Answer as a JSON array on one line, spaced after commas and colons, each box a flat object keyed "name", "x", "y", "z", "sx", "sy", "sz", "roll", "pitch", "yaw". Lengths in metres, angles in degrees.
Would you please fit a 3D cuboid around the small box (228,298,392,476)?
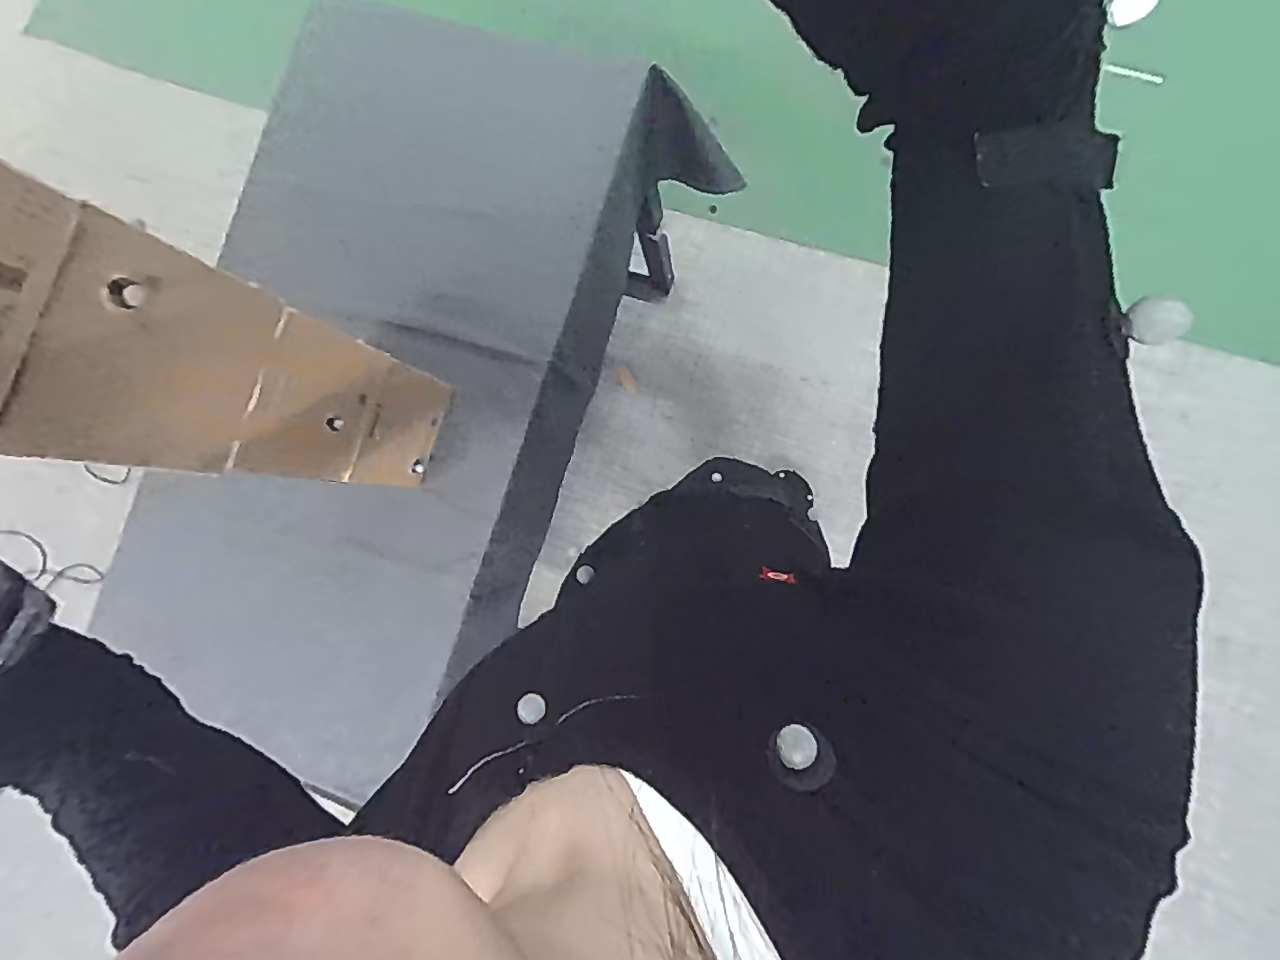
[{"name": "small box", "x": -0.422, "y": -0.108, "z": 0.606, "sx": 0.179, "sy": 0.176, "sz": 0.168, "roll": 18, "pitch": 89, "yaw": 9}]

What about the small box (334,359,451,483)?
[{"name": "small box", "x": -0.400, "y": -0.097, "z": 0.766, "sx": 0.179, "sy": 0.176, "sz": 0.168, "roll": 18, "pitch": 89, "yaw": 10}]

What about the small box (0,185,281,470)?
[{"name": "small box", "x": -0.442, "y": -0.119, "z": 0.443, "sx": 0.168, "sy": 0.176, "sz": 0.179, "roll": 20, "pitch": 89, "yaw": 9}]
